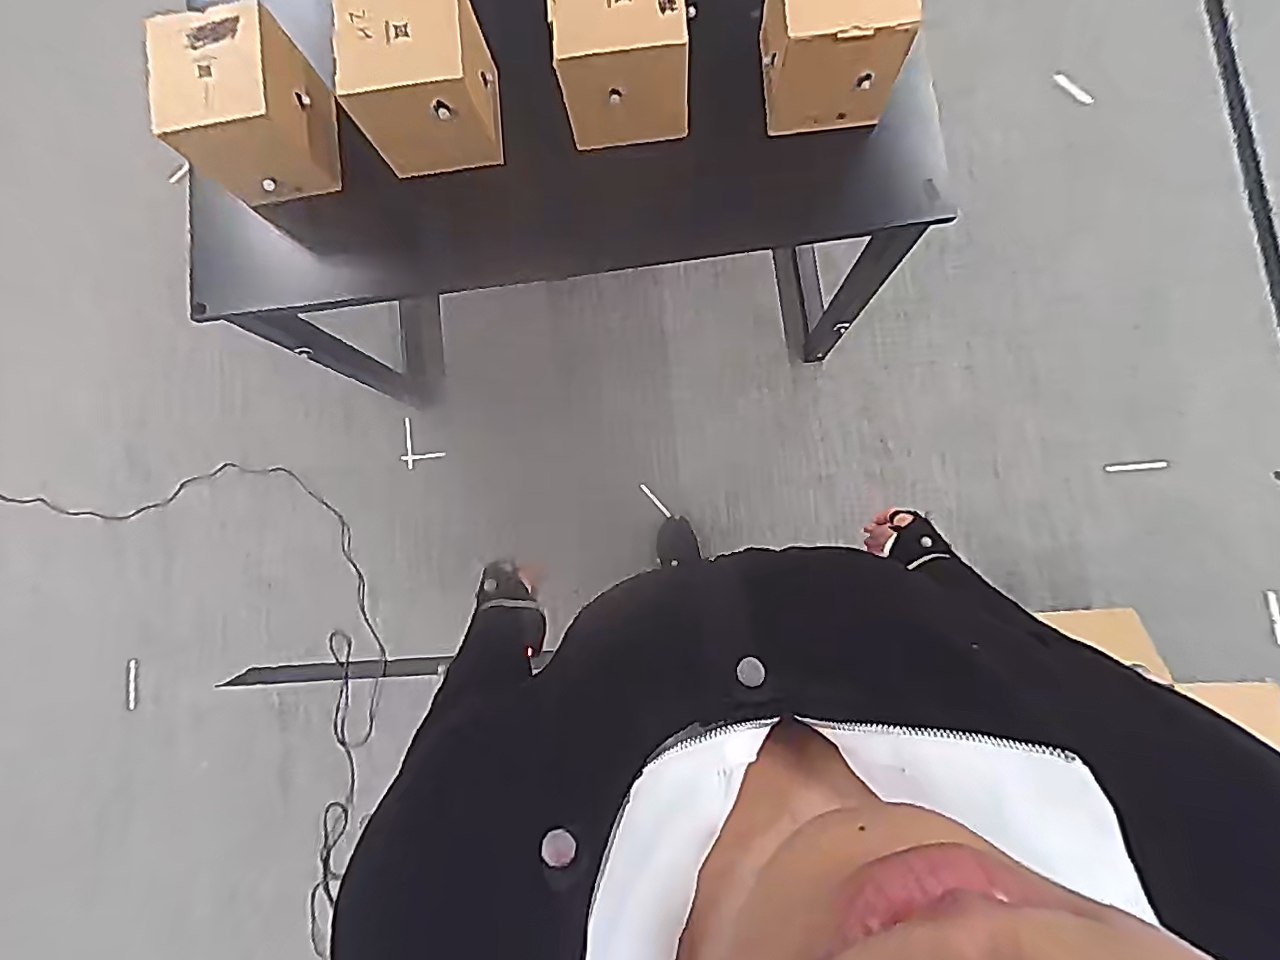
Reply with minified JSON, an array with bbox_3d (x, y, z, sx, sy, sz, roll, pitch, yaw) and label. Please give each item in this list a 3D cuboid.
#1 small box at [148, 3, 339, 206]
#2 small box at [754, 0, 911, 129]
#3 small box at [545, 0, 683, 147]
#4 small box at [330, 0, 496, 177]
[{"bbox_3d":[-0.586,-0.554,0.818,0.168,0.176,0.179,-8,85,4],"label":"small box"},{"bbox_3d":[0.258,-0.630,0.762,0.168,0.176,0.179,-4,83,4],"label":"small box"},{"bbox_3d":[-0.031,-0.617,0.783,0.179,0.176,0.168,-5,84,5],"label":"small box"},{"bbox_3d":[-0.322,-0.585,0.801,0.179,0.176,0.168,-7,83,3],"label":"small box"}]
